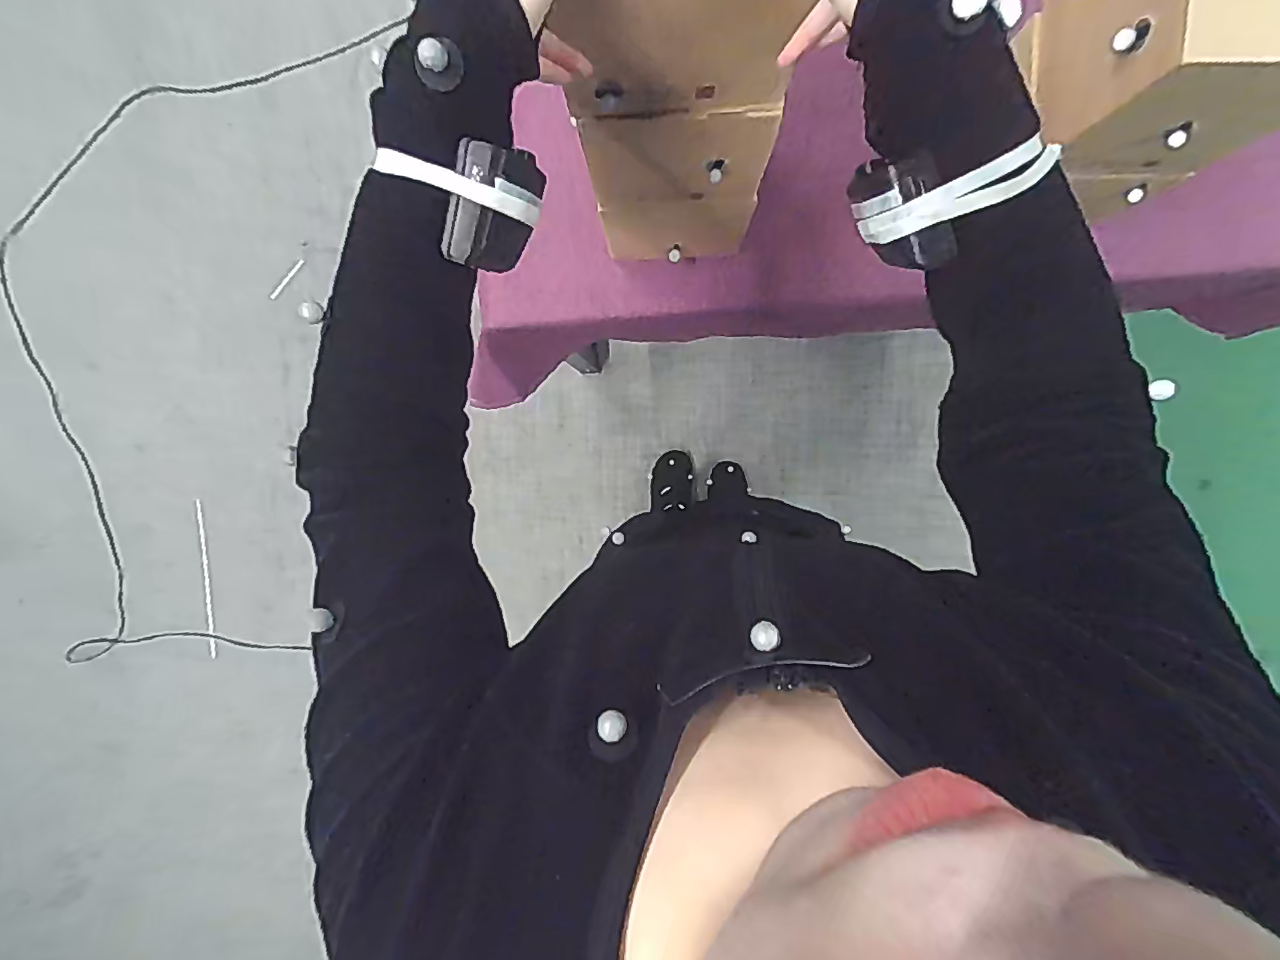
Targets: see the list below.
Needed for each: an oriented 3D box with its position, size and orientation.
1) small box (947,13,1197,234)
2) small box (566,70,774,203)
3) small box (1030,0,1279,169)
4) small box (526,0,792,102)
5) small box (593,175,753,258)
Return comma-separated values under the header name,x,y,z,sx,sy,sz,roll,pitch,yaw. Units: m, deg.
name,x,y,z,sx,sy,sz,roll,pitch,yaw
small box,0.488,-0.402,0.633,0.179,0.176,0.168,0,94,3
small box,0.029,-0.374,0.497,0.168,0.176,0.179,0,94,3
small box,0.478,-0.395,0.469,0.168,0.176,0.179,2,94,3
small box,0.012,-0.367,0.333,0.168,0.176,0.179,-2,93,2
small box,0.037,-0.382,0.660,0.179,0.176,0.168,-1,94,3
